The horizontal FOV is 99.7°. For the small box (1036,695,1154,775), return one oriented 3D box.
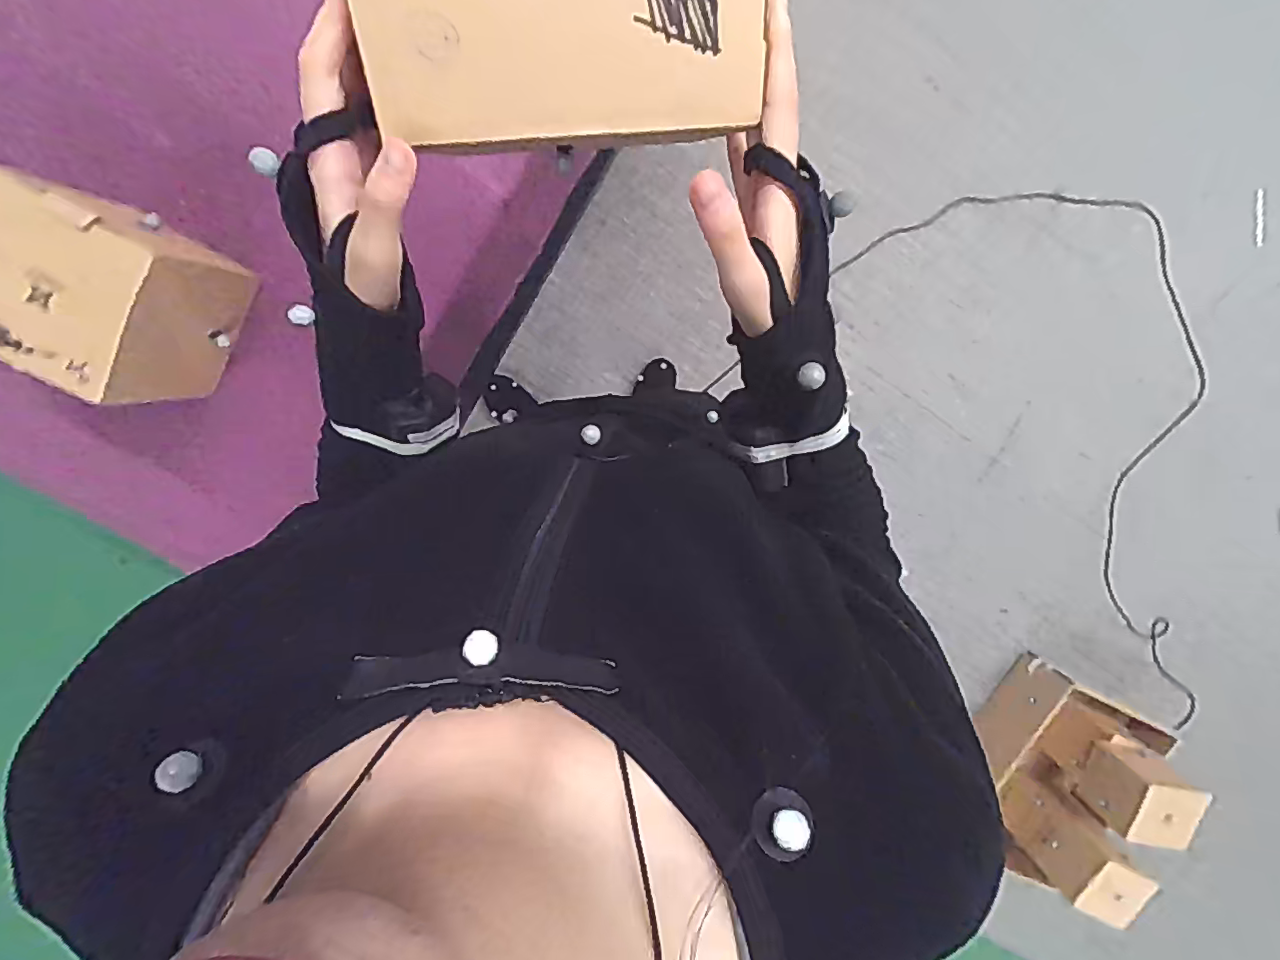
[{"bbox_3d":[1.342,0.781,1.611,0.168,0.176,0.179,27,103,-6],"label":"small box"}]

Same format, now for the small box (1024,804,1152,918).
[{"bbox_3d":[1.232,1.048,1.501,0.179,0.176,0.168,28,100,-7],"label":"small box"}]

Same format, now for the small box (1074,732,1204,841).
[{"bbox_3d":[1.325,0.819,1.453,0.168,0.176,0.179,11,103,-3],"label":"small box"}]

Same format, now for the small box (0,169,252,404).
[{"bbox_3d":[-0.600,-0.209,0.626,0.168,0.176,0.179,29,100,-8],"label":"small box"}]

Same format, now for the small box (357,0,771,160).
[{"bbox_3d":[-0.039,-0.266,0.282,0.179,0.176,0.168,-4,121,-4],"label":"small box"}]
